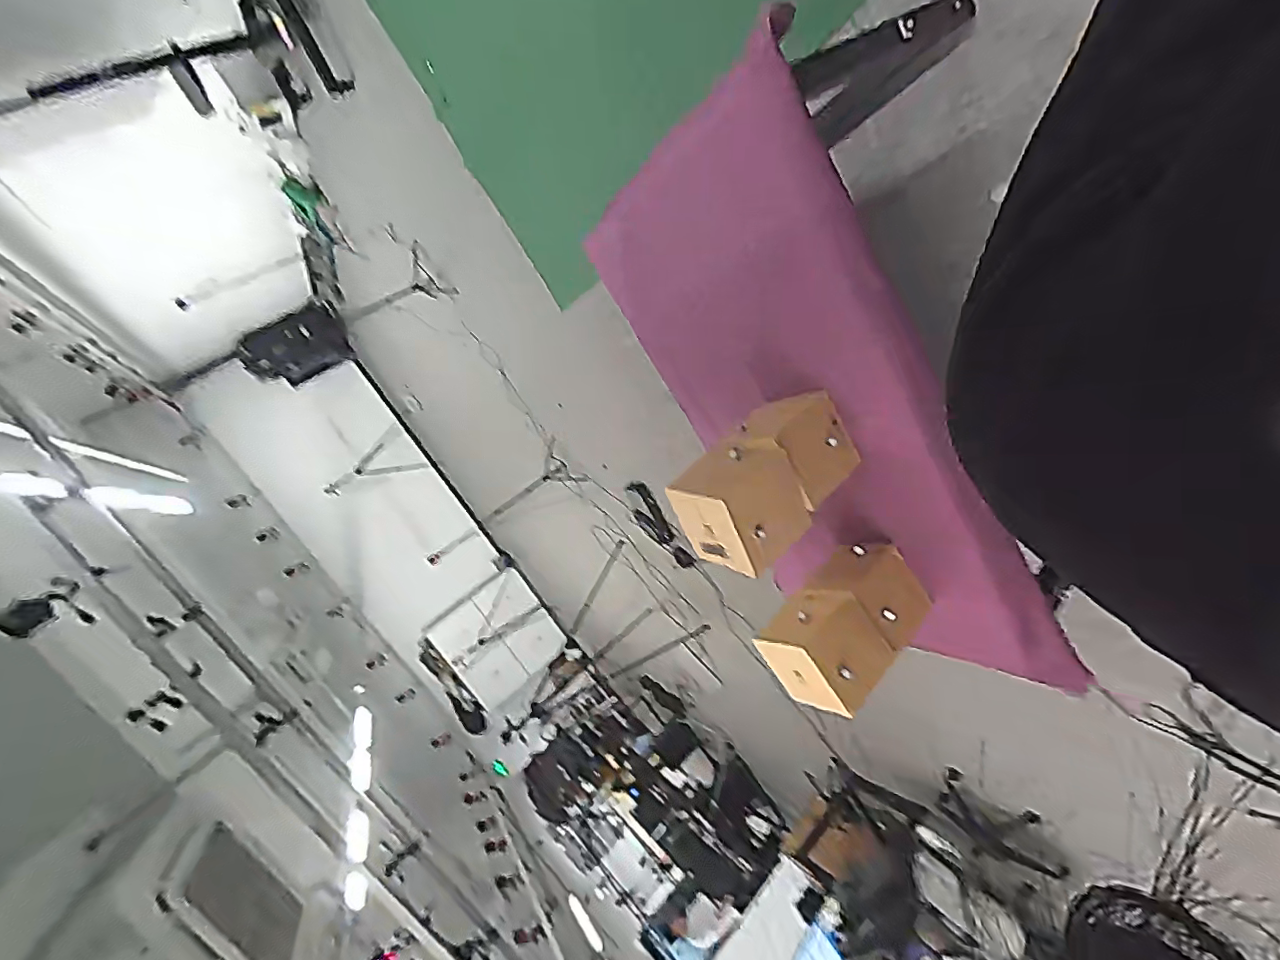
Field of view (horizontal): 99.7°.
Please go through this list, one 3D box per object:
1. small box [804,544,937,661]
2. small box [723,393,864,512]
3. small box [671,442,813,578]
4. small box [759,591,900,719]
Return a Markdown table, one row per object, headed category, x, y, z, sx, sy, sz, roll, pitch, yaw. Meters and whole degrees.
| category | x | y | z | sx | sy | sz | roll | pitch | yaw |
| --- | --- | --- | --- | --- | --- | --- | --- | --- | --- |
| small box | 0.503 | 0.257 | 1.174 | 0.179 | 0.176 | 0.168 | 55 | 155 | -8 |
| small box | 0.307 | -0.053 | 1.083 | 0.168 | 0.176 | 0.179 | 57 | 156 | -14 |
| small box | 0.196 | 0.049 | 1.016 | 0.168 | 0.176 | 0.179 | 12 | 134 | 56 |
| small box | 0.386 | 0.344 | 1.103 | 0.179 | 0.176 | 0.168 | 54 | 155 | -6 |
